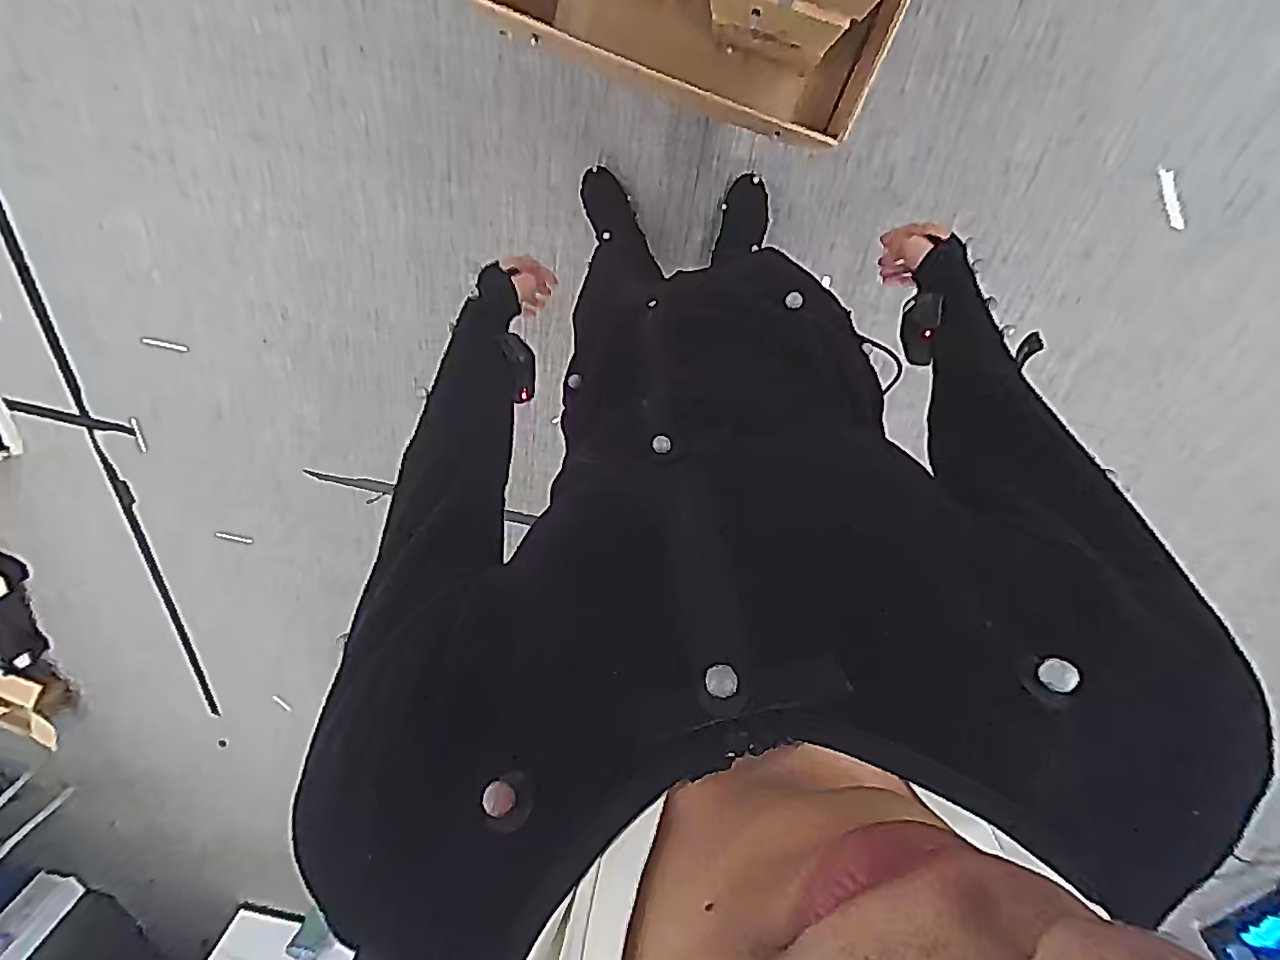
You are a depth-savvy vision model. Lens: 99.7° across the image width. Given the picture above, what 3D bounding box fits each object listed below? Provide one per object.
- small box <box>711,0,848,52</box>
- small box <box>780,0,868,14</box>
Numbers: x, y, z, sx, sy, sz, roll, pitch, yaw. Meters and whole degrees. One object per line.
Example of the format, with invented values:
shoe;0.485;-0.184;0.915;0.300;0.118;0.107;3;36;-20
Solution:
small box;0.184;-0.635;0.626;0.168;0.176;0.179;18;120;-2
small box;0.166;-0.555;0.484;0.179;0.176;0.168;16;120;-2
